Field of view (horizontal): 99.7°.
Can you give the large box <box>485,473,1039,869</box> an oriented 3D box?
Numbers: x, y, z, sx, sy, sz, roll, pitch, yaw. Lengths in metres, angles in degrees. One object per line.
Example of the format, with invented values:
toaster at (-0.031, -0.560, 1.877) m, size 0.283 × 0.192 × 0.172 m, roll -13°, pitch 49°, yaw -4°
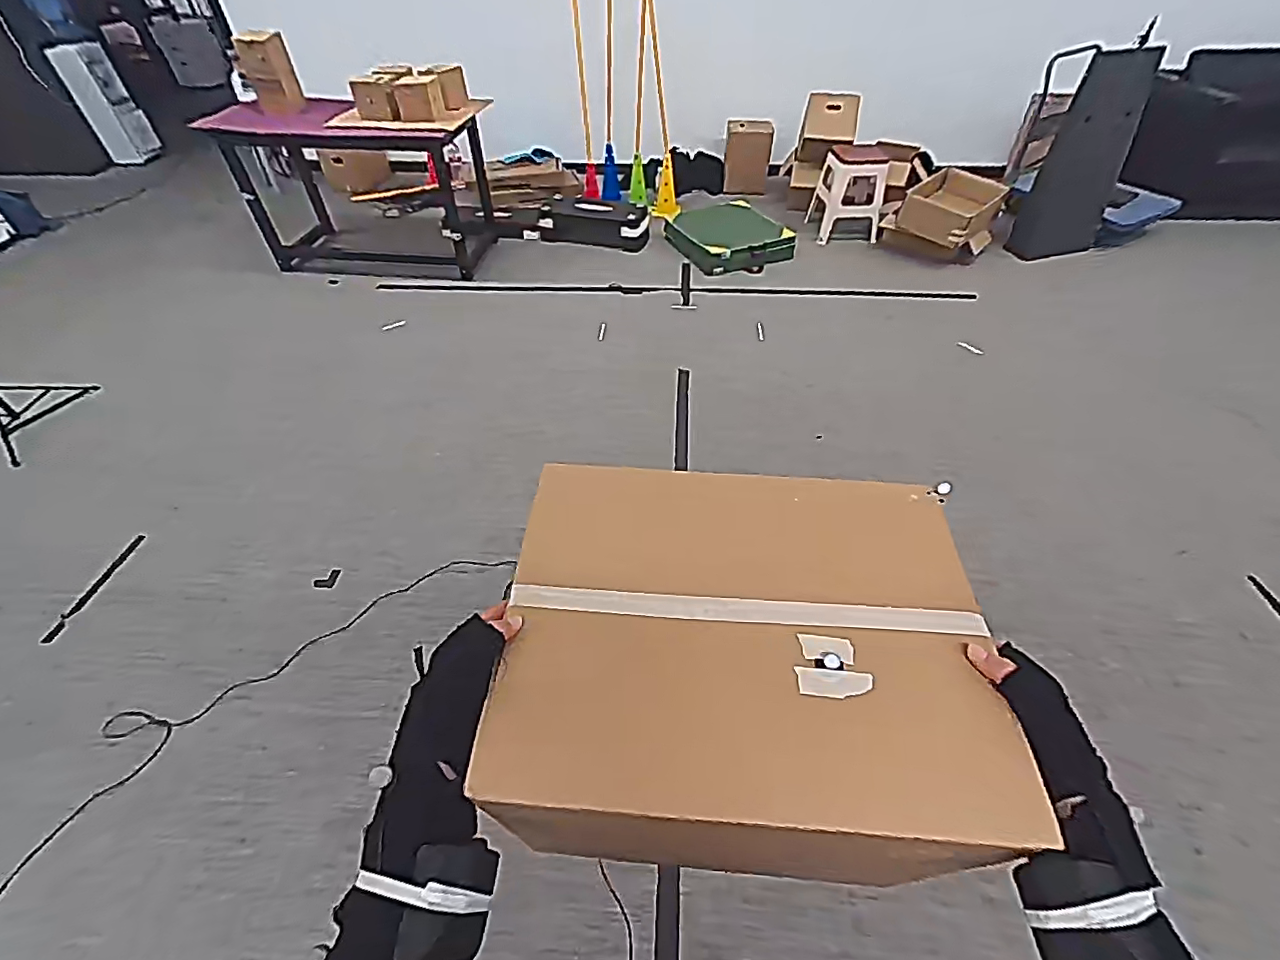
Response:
large box at (0.090, 0.213, 0.592) m, size 0.408 × 0.320 × 0.320 m, roll 3°, pitch 51°, yaw 3°
